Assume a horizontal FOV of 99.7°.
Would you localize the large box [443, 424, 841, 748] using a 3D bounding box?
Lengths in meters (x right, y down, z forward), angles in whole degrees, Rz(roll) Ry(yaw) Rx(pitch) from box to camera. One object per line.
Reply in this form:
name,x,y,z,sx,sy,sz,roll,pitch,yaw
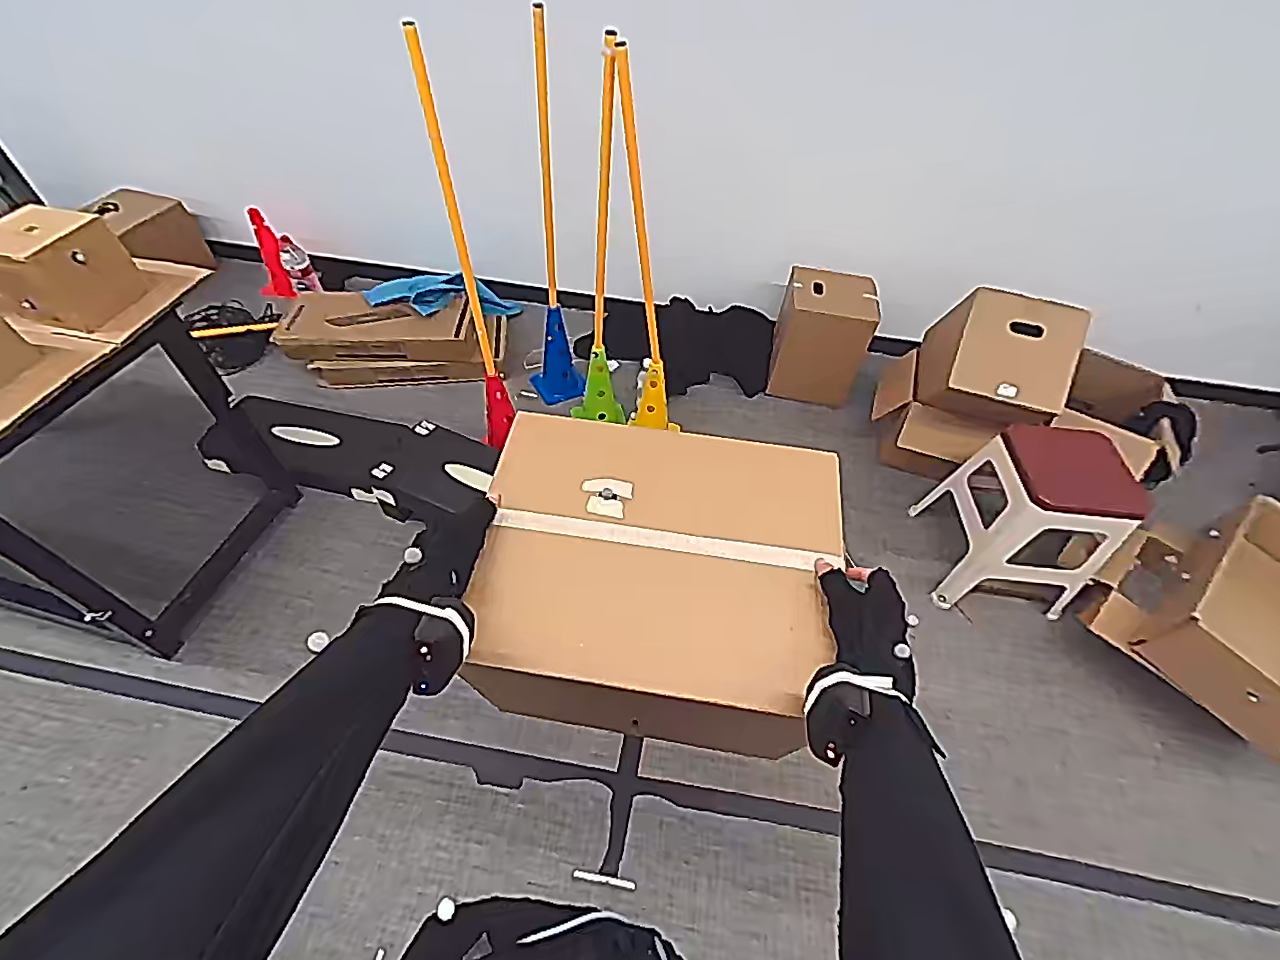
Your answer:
large box,0.018,0.156,0.733,0.408,0.320,0.320,8,57,4
